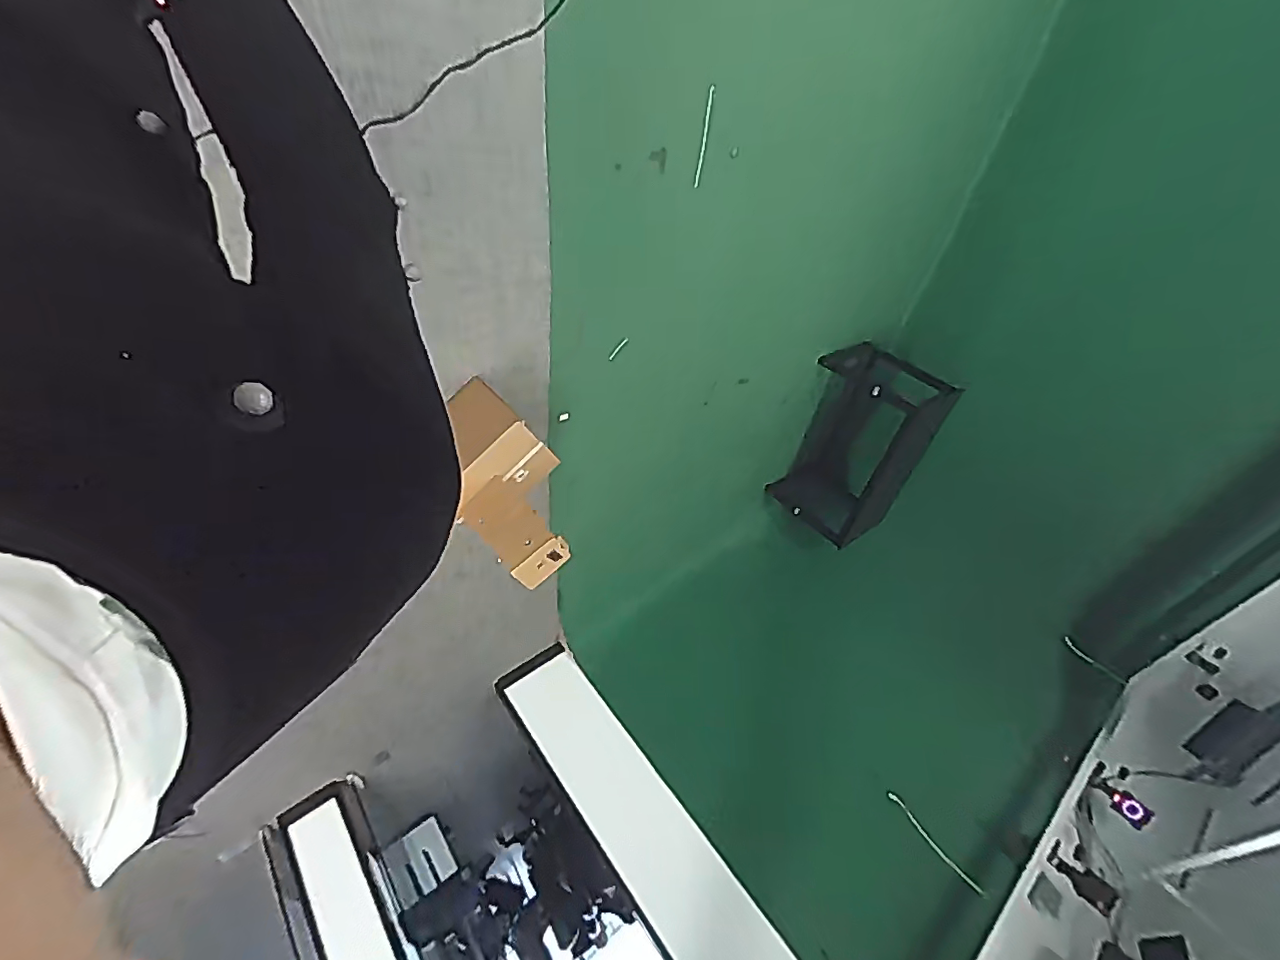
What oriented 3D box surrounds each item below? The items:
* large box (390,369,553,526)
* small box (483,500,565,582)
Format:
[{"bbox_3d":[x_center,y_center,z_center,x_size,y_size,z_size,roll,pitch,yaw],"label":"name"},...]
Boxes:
[{"bbox_3d":[-0.603,-0.113,1.953,0.408,0.320,0.320,-45,150,-5],"label":"large box"},{"bbox_3d":[-0.381,0.198,1.779,0.179,0.176,0.168,-40,149,-10],"label":"small box"}]
